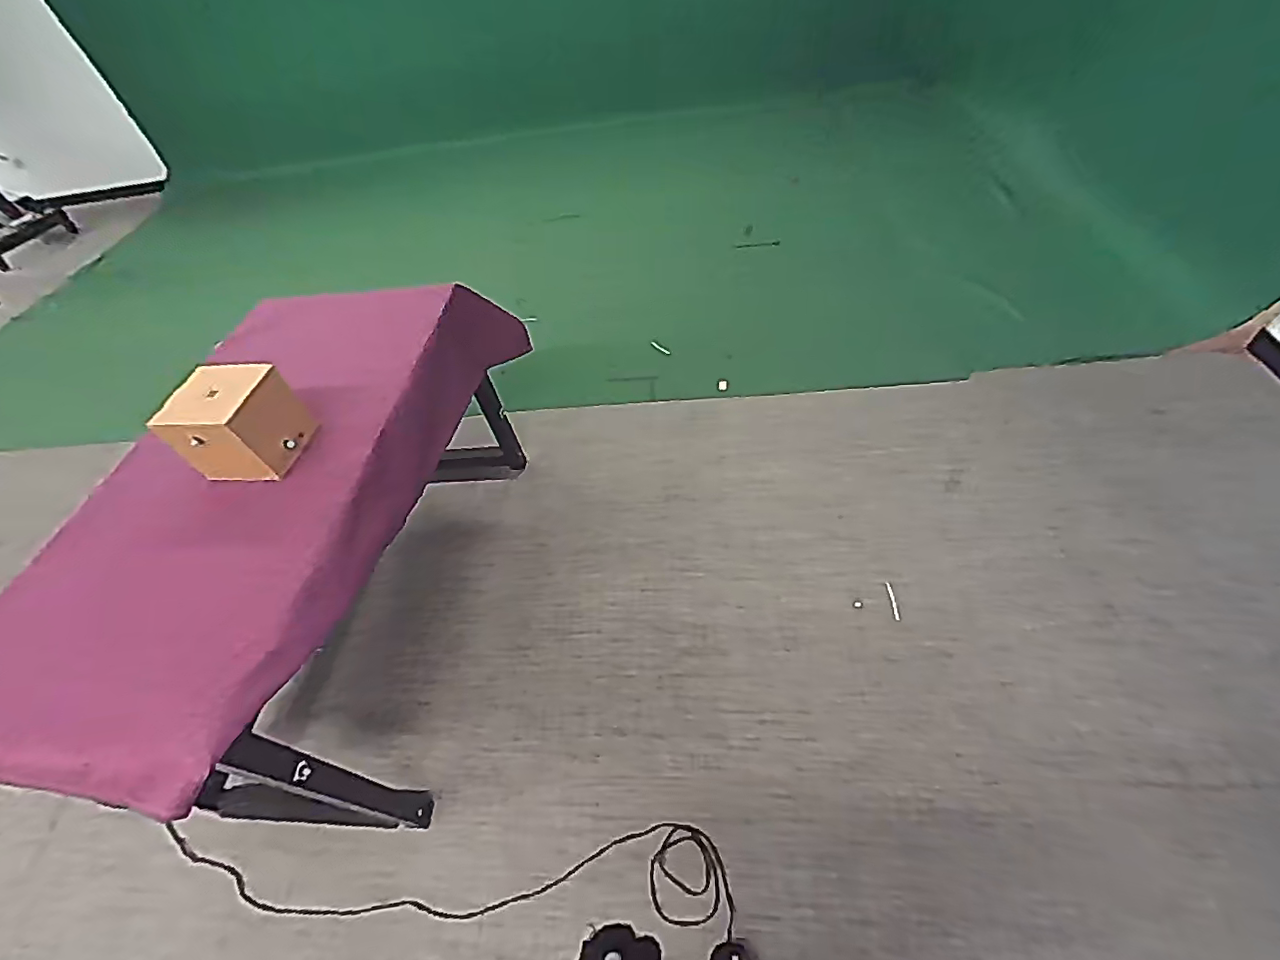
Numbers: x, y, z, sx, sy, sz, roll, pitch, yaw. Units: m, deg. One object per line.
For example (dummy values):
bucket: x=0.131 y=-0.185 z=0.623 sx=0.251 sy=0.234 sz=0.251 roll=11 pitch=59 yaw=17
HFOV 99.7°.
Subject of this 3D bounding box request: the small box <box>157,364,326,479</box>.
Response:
small box: x=-0.792 y=-0.116 z=1.096 sx=0.179 sy=0.176 sz=0.168 roll=2 pitch=52 yaw=11
